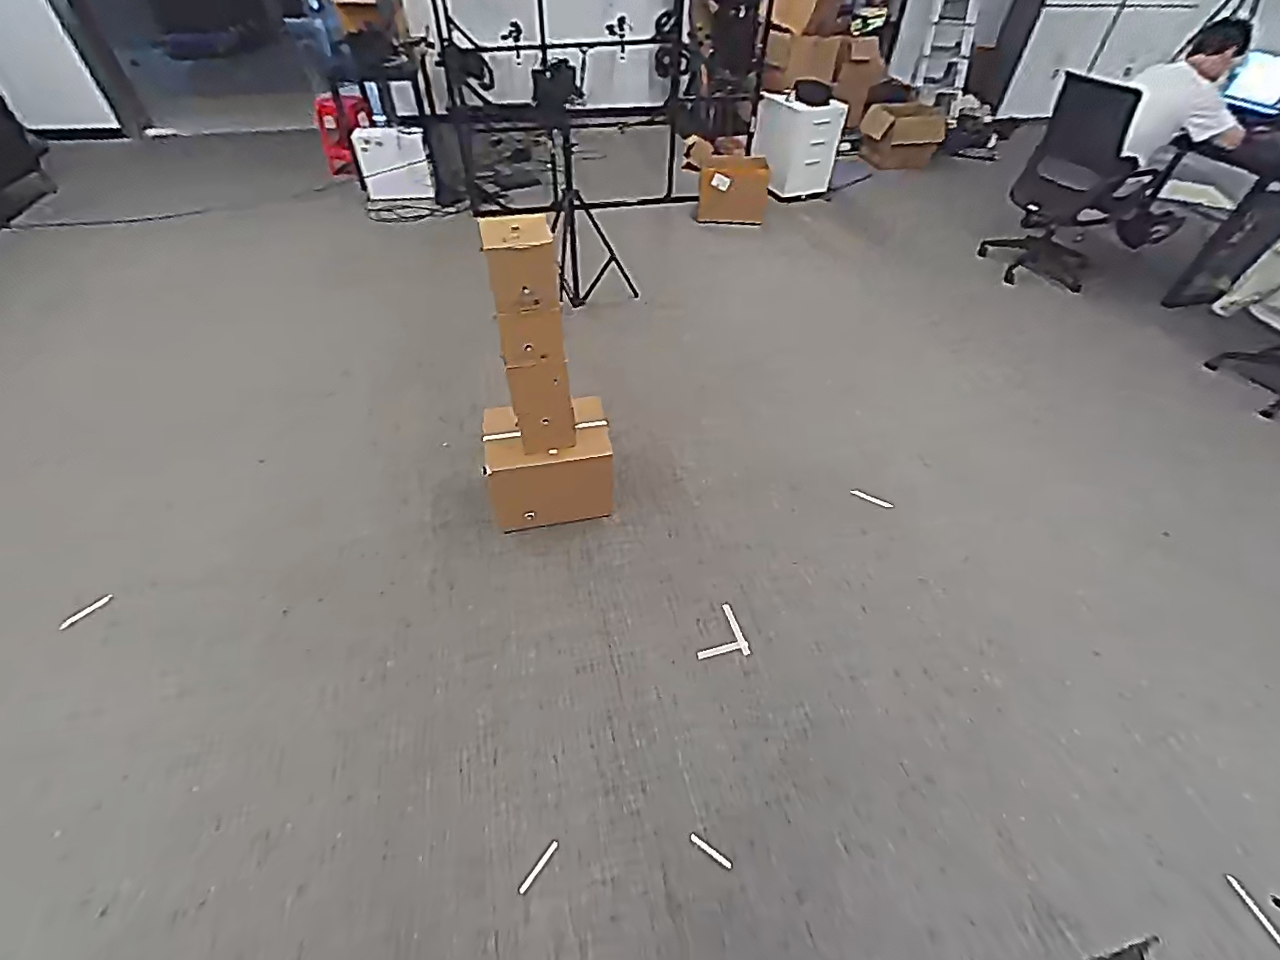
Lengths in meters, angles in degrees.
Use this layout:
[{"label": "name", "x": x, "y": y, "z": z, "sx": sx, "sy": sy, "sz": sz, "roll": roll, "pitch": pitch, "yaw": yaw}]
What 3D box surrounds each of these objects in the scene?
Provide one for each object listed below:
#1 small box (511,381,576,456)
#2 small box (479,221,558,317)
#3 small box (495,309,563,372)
[{"label": "small box", "x": -0.306, "y": -0.194, "z": 1.731, "sx": 0.179, "sy": 0.176, "sz": 0.168, "roll": -10, "pitch": 49, "yaw": -12}, {"label": "small box", "x": -0.308, "y": -0.539, "z": 1.380, "sx": 0.168, "sy": 0.176, "sz": 0.179, "roll": -11, "pitch": 49, "yaw": -11}, {"label": "small box", "x": -0.310, "y": -0.424, "z": 1.498, "sx": 0.168, "sy": 0.176, "sz": 0.179, "roll": -10, "pitch": 49, "yaw": -11}]
